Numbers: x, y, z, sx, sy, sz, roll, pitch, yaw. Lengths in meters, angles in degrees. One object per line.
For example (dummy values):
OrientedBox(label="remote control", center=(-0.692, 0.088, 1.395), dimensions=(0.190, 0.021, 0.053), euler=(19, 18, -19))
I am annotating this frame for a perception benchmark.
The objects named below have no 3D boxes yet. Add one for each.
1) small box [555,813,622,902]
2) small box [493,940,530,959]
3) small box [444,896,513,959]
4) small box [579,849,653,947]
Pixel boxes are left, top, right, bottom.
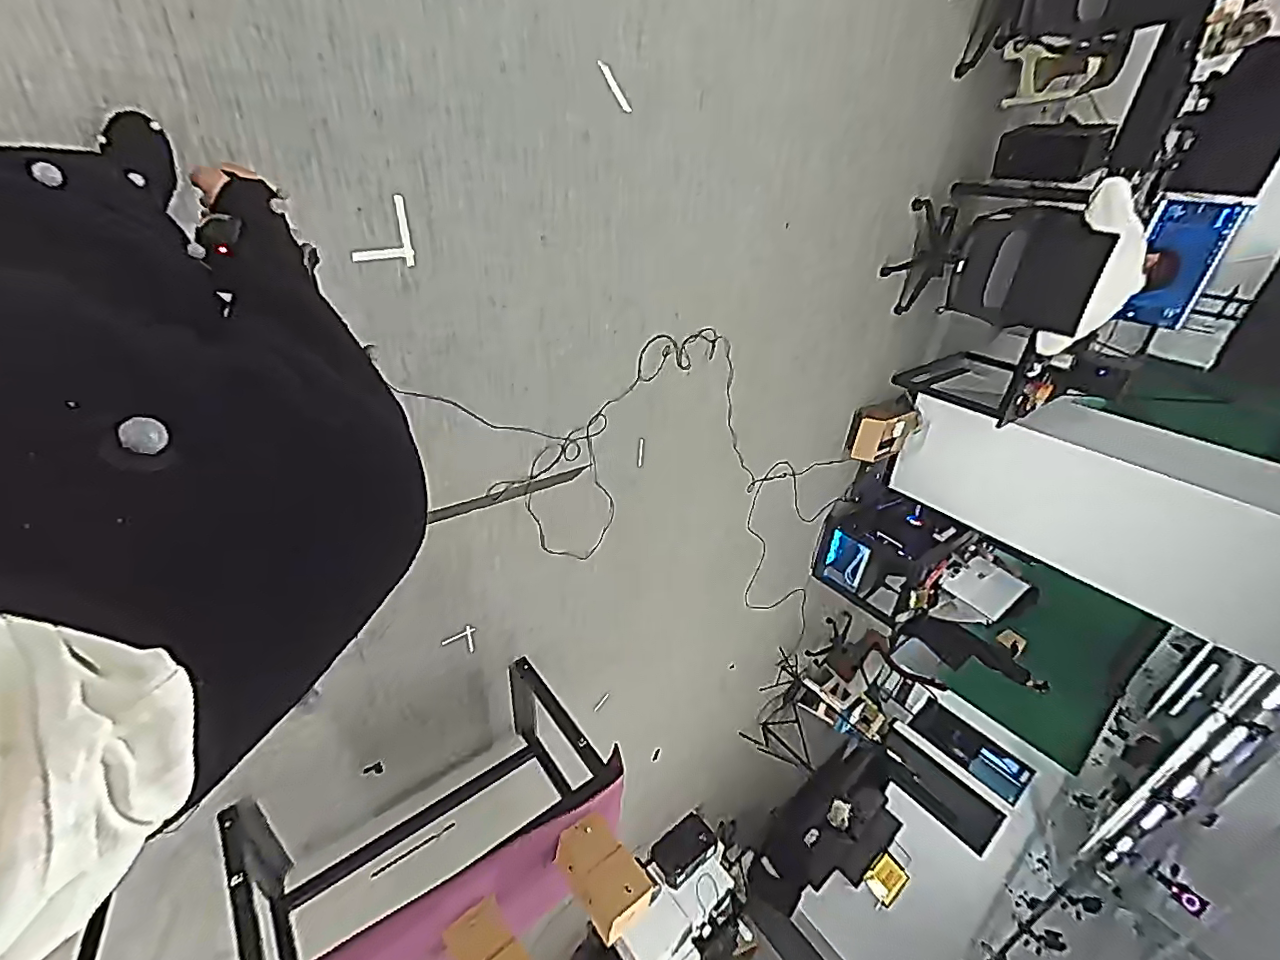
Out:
OrientedBox(label="small box", center=(-0.193, 1.367, 1.970), dimensions=(0.168, 0.176, 0.179), euler=(-10, 121, -40))
OrientedBox(label="small box", center=(-0.404, 1.572, 1.654), dimensions=(0.179, 0.176, 0.168), euler=(-22, 130, -32))
OrientedBox(label="small box", center=(-0.521, 1.515, 1.754), dimensions=(0.179, 0.176, 0.168), euler=(-22, 131, -32))
OrientedBox(label="small box", center=(-0.085, 1.427, 1.861), dimensions=(0.179, 0.176, 0.168), euler=(-12, 123, -38))
